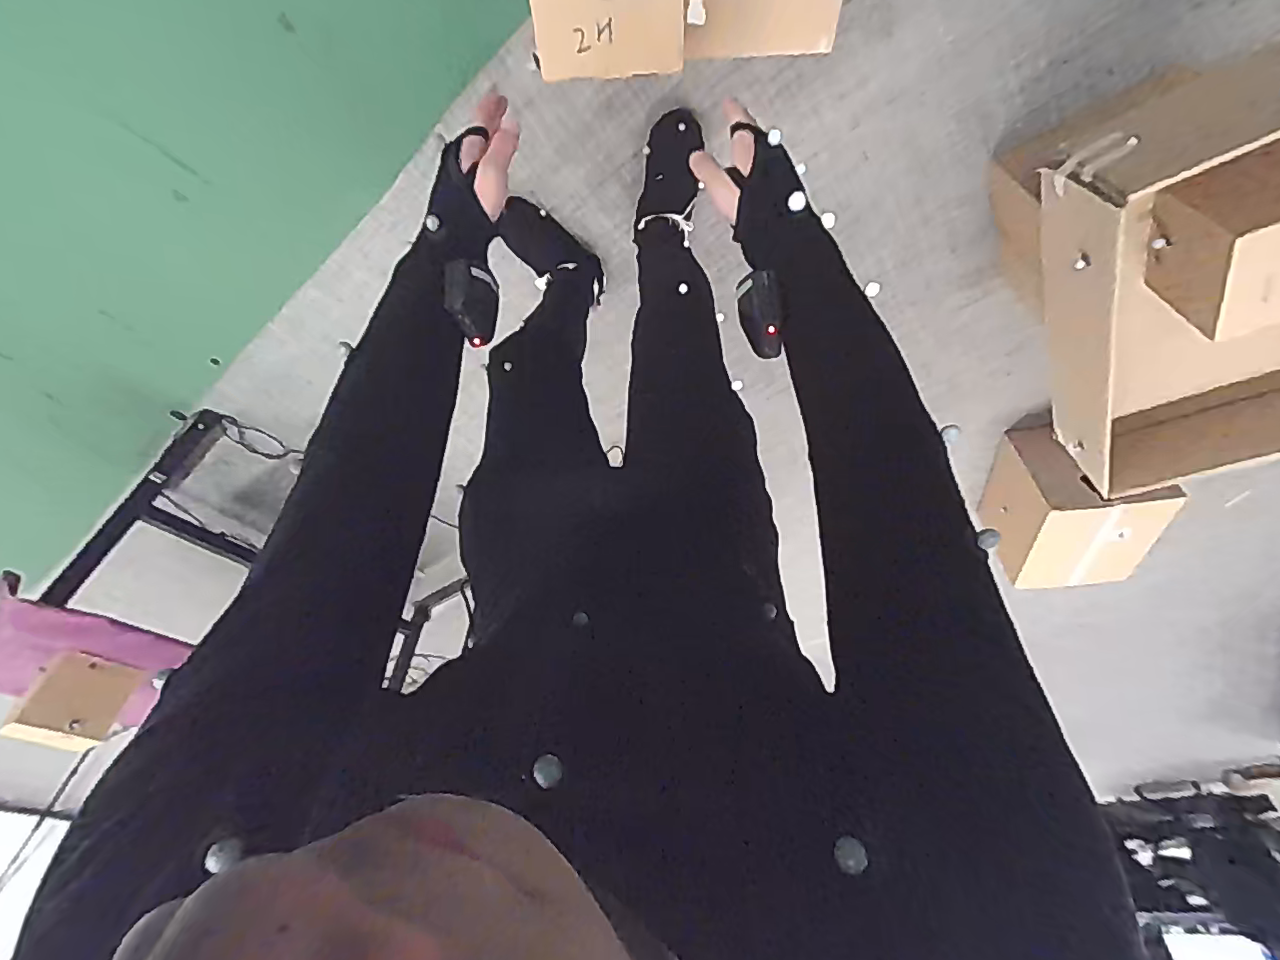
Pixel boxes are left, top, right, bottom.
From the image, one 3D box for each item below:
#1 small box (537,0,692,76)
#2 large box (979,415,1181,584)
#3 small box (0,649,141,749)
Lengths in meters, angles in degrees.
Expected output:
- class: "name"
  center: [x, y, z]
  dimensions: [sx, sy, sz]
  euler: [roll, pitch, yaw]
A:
- class: "small box"
  center: [-0.027, -0.580, 0.602]
  dimensions: [0.168, 0.176, 0.179]
  euler: [0, 139, 3]
- class: "large box"
  center: [1.273, 0.069, 1.628]
  dimensions: [0.320, 0.320, 0.408]
  euler: [-8, 136, 11]
- class: "small box"
  center: [-1.340, 0.518, 1.274]
  dimensions: [0.179, 0.176, 0.168]
  euler: [-23, 134, 29]
